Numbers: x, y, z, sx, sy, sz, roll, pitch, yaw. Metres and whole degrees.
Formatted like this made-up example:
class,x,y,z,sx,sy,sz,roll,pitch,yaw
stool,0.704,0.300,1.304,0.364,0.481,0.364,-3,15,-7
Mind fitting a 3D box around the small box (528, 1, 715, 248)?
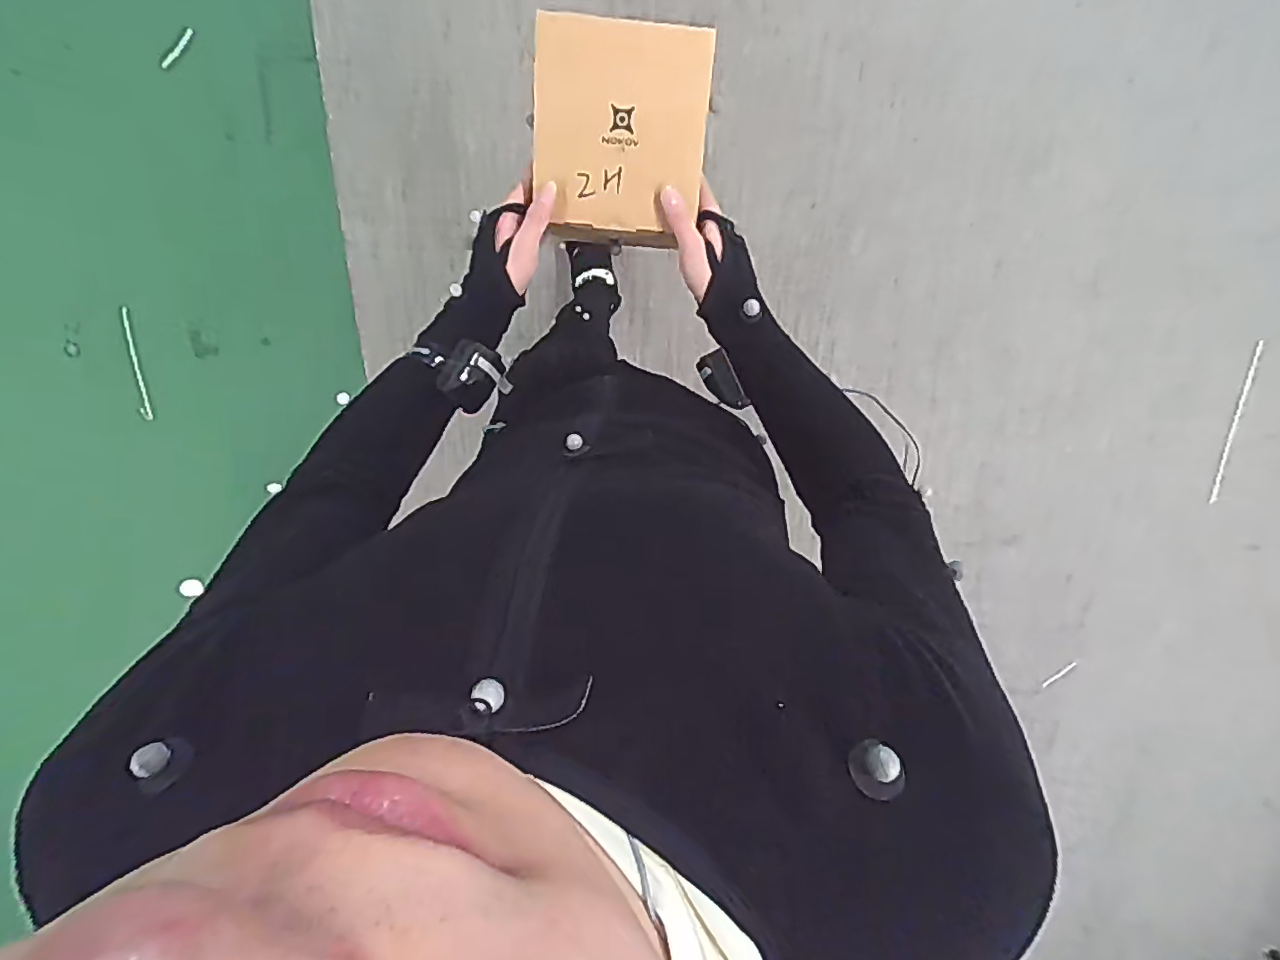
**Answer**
class,x,y,z,sx,sy,sz,roll,pitch,yaw
small box,-0.023,-0.363,0.587,0.168,0.176,0.179,5,108,-2
